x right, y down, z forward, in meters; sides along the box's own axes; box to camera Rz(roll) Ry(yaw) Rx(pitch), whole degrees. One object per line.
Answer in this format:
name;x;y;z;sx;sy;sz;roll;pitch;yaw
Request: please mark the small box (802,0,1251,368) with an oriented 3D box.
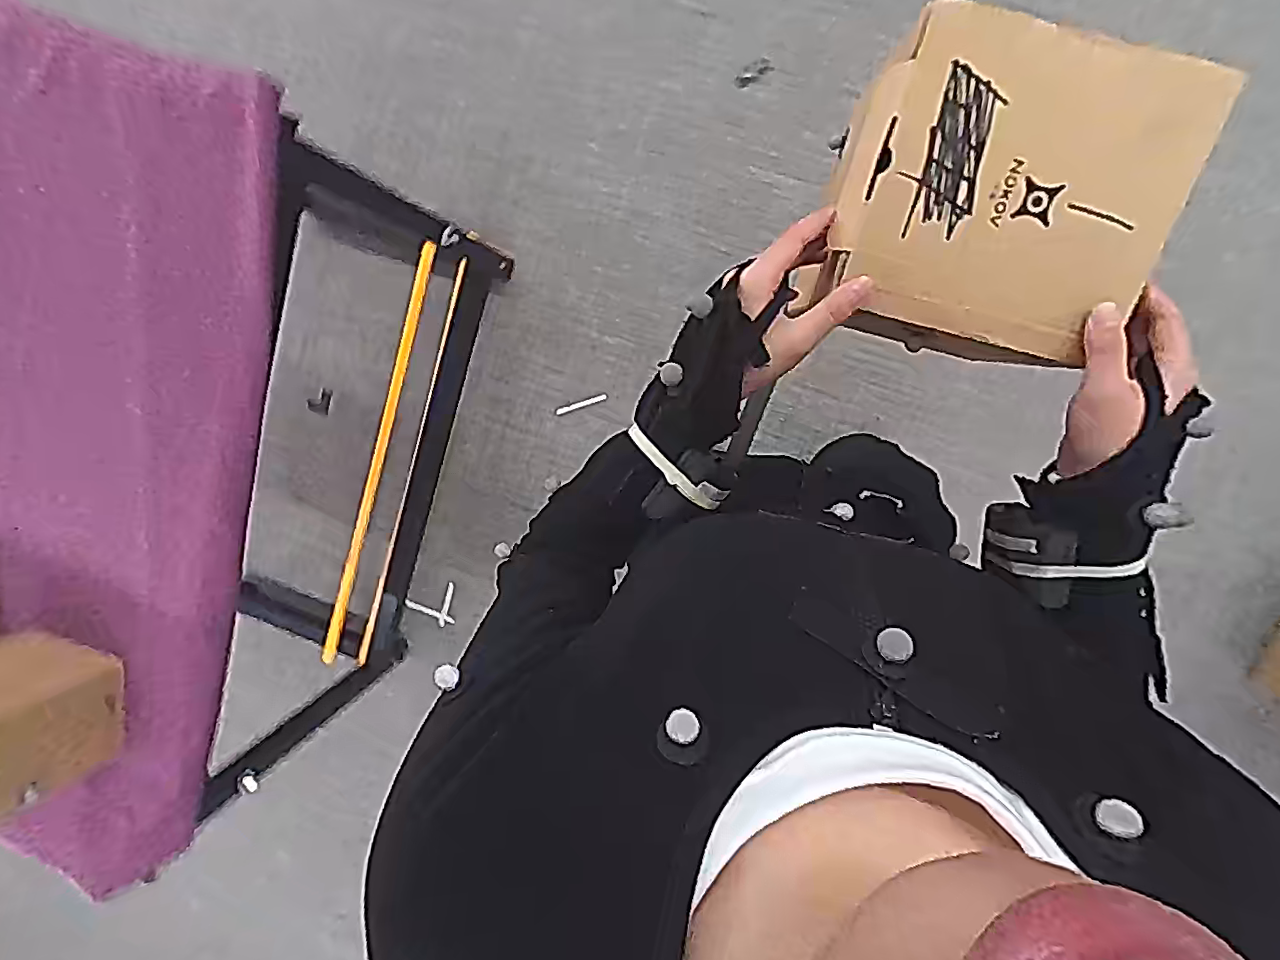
small box;0.237;-0.188;0.394;0.179;0.176;0.168;16;106;0
